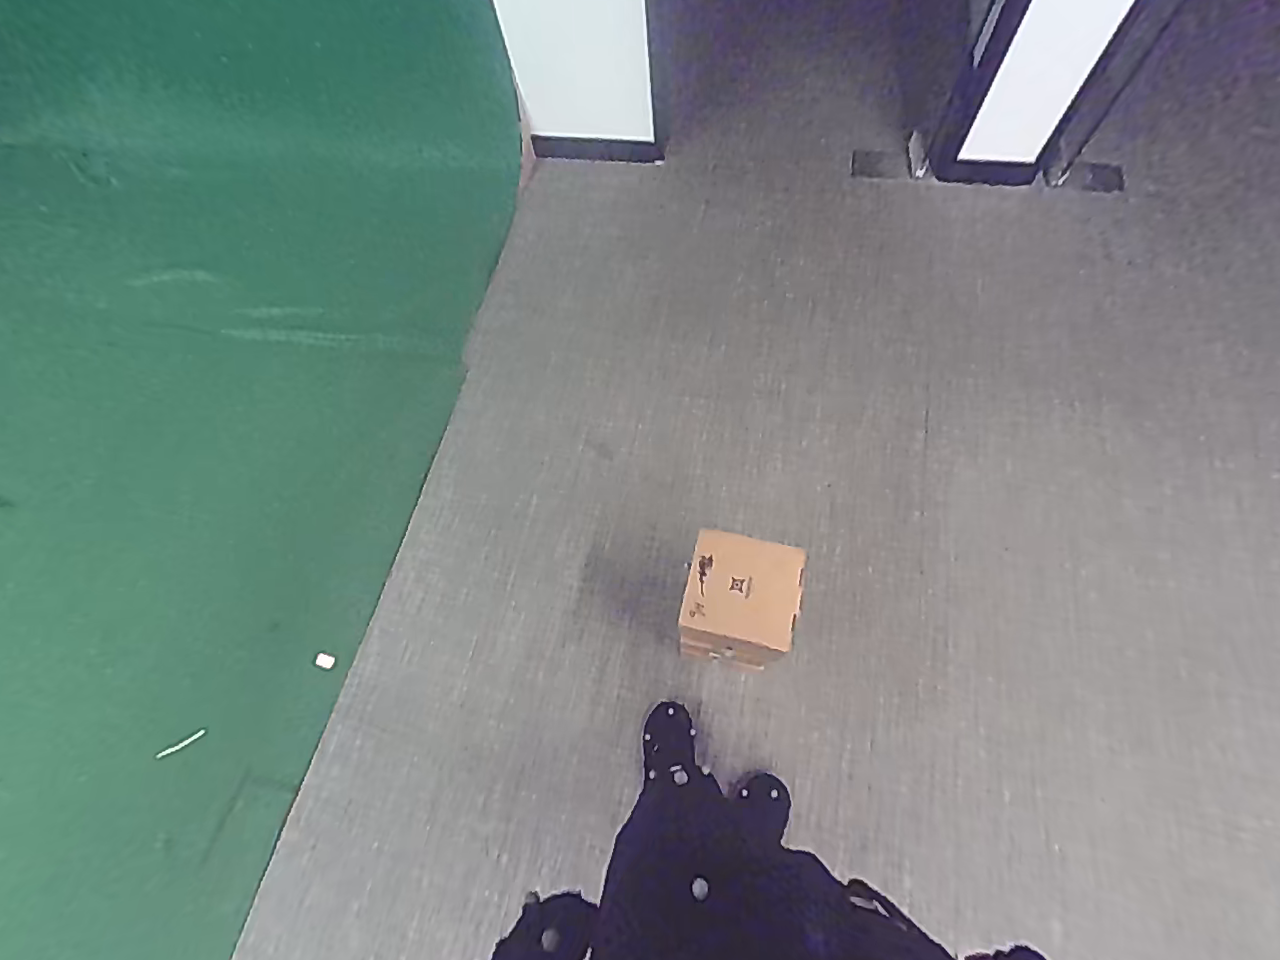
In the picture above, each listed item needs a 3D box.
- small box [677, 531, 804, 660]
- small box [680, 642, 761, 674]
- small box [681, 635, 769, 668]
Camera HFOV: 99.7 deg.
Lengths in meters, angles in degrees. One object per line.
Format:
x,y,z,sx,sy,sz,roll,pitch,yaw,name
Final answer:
0.170,0.206,0.935,0.179,0.176,0.168,12,69,12,small box
0.195,0.345,1.247,0.179,0.176,0.168,11,69,10,small box
0.180,0.269,1.086,0.168,0.176,0.179,9,70,11,small box
